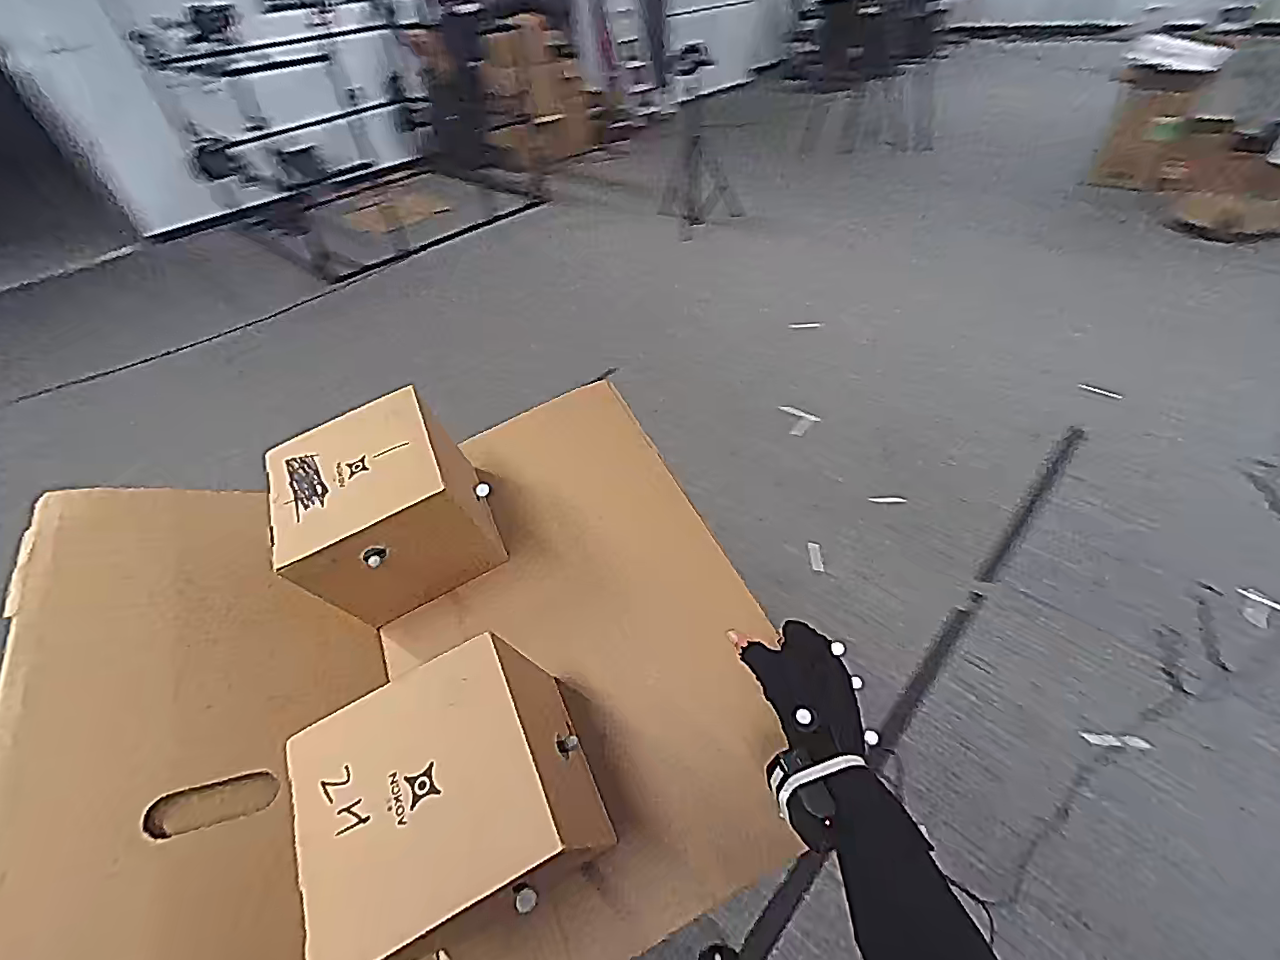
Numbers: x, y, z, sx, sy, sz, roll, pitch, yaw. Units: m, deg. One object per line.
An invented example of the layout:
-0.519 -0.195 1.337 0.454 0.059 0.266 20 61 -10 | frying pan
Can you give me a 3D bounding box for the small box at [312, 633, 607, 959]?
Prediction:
-0.139 0.262 0.462 0.179 0.176 0.168 -26 56 -5 | small box
